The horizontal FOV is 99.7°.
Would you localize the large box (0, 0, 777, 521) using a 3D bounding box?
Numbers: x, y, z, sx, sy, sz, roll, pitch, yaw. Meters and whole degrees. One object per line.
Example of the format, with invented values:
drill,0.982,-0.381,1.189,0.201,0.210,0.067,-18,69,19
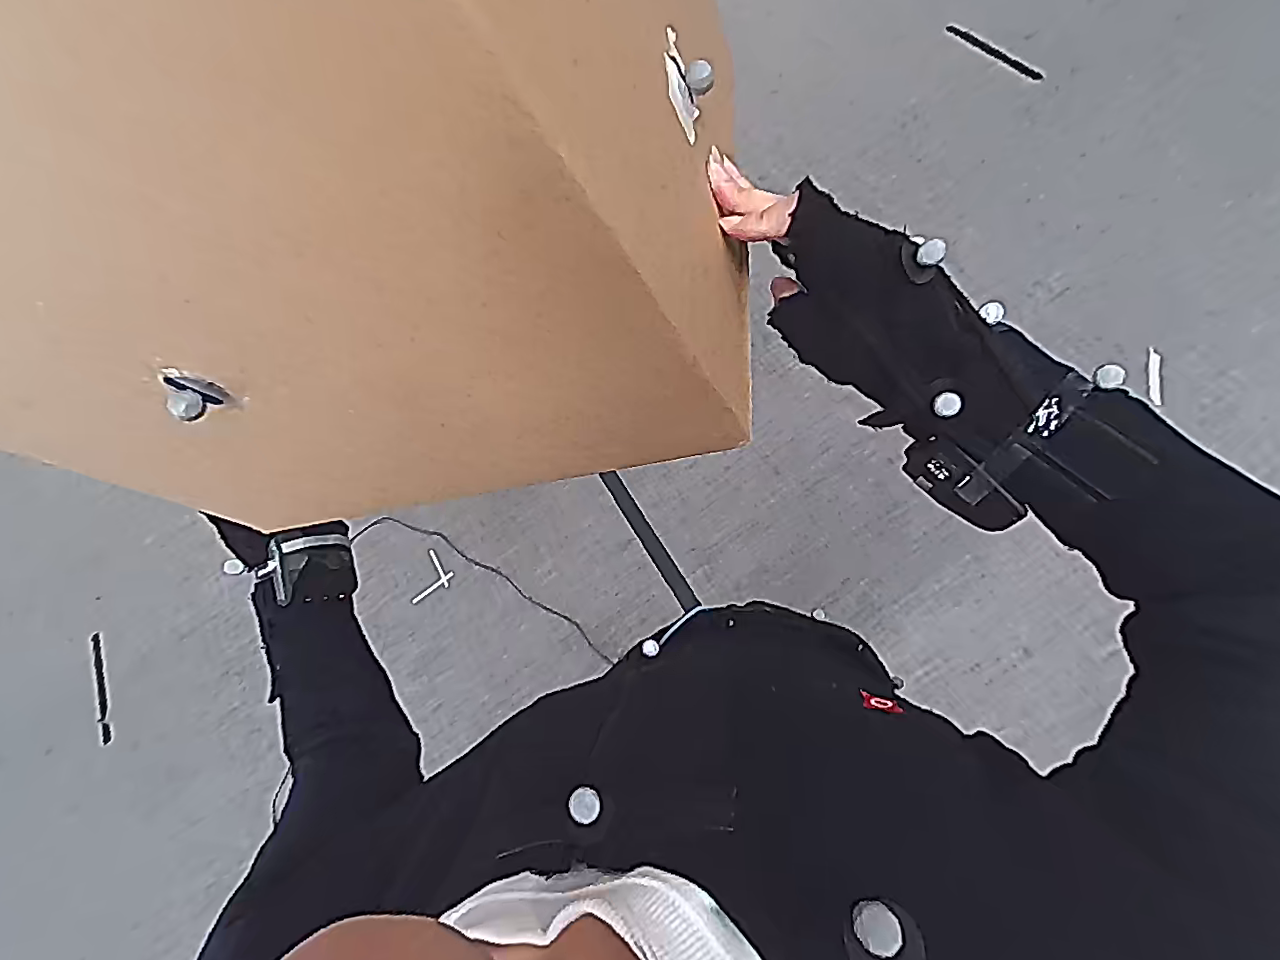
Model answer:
large box,-0.168,-0.190,0.316,0.408,0.320,0.320,-11,61,26
